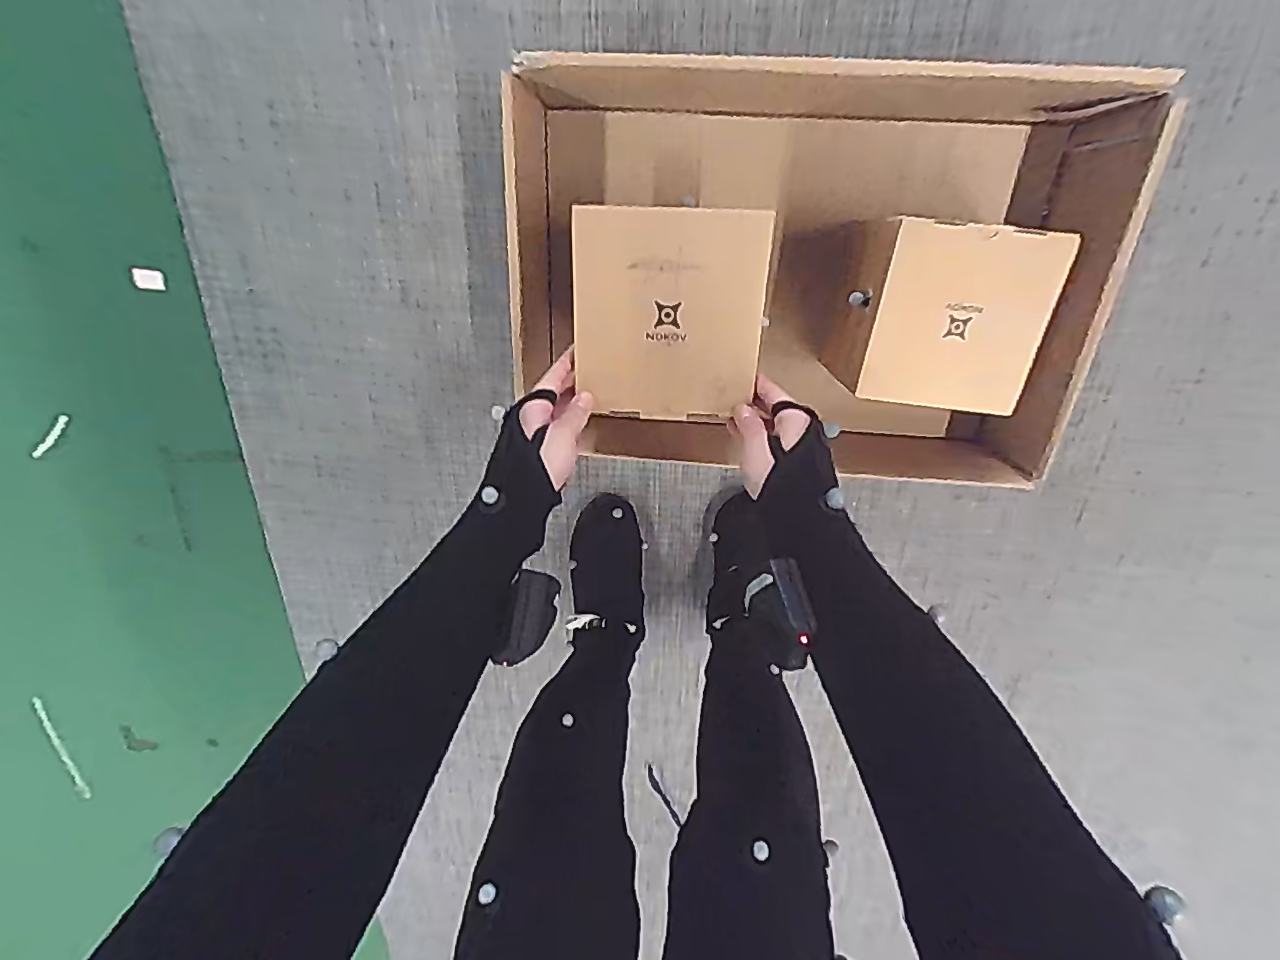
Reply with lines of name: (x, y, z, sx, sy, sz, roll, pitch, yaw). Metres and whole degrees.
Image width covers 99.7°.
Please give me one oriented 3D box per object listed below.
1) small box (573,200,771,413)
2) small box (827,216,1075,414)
small box: (0.026, -0.178, 0.548, 0.168, 0.176, 0.179, 2, 113, 1)
small box: (0.321, -0.188, 0.607, 0.168, 0.176, 0.179, 7, 113, 3)
